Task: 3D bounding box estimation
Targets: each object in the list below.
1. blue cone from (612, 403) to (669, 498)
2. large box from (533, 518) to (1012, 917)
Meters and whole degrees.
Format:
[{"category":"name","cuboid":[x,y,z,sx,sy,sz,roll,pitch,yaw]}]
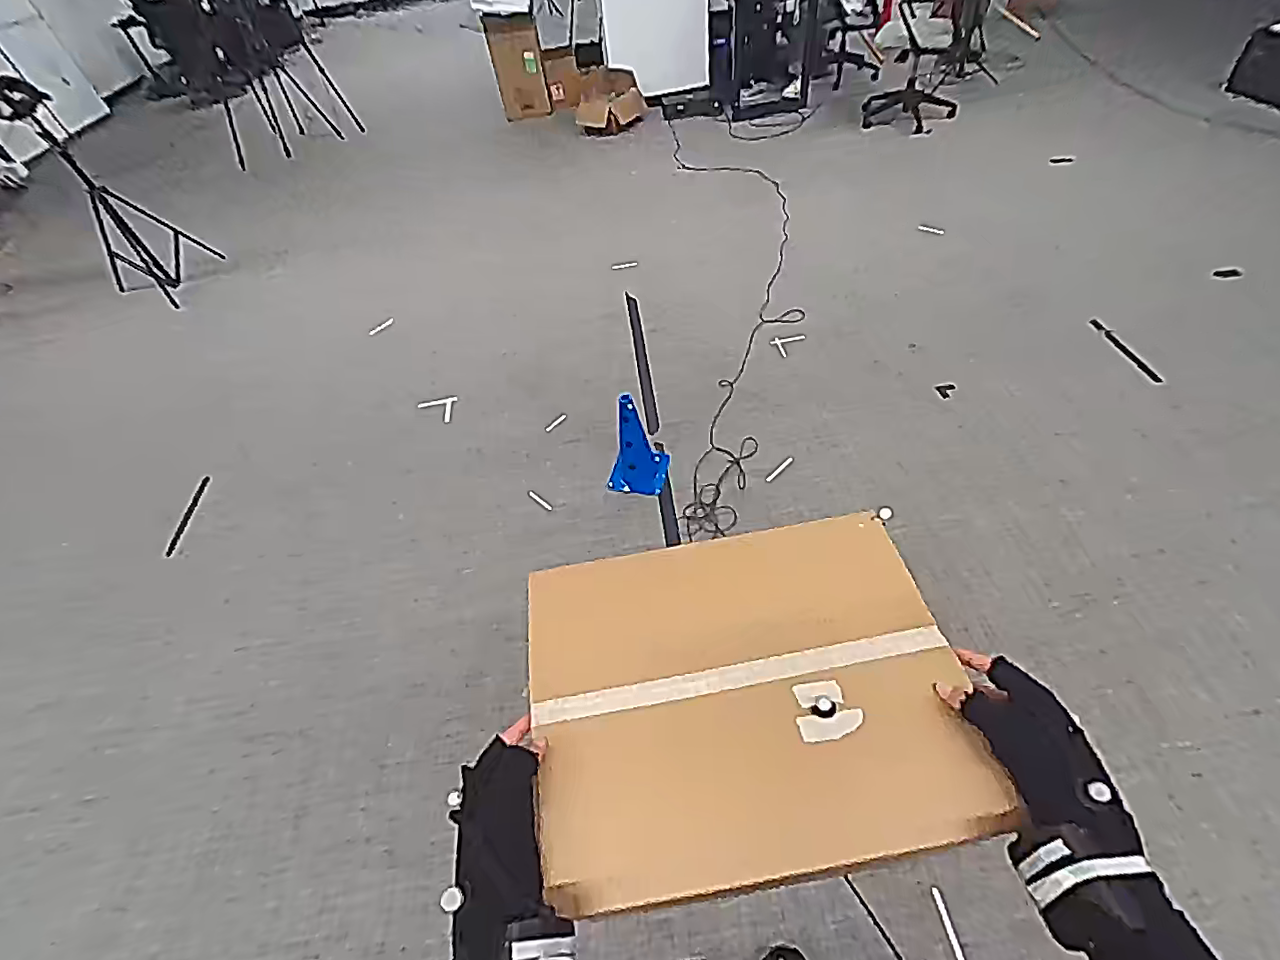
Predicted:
[{"category":"blue cone","cuboid":[-0.020,-0.123,1.858,0.193,0.380,0.192,6,52,16]},{"category":"large box","cuboid":[0.108,0.290,0.650,0.408,0.320,0.320,-10,51,-1]}]
